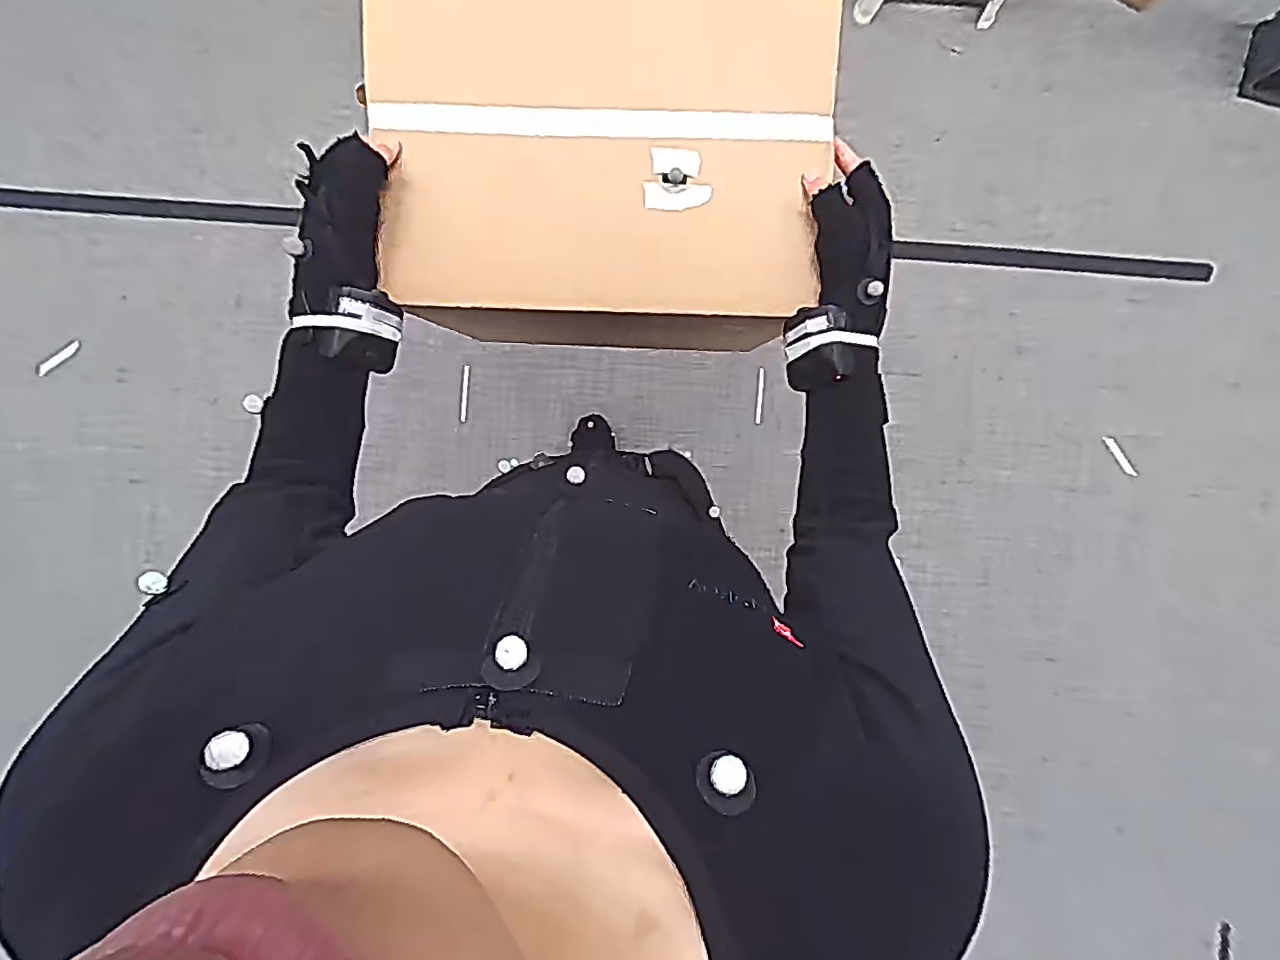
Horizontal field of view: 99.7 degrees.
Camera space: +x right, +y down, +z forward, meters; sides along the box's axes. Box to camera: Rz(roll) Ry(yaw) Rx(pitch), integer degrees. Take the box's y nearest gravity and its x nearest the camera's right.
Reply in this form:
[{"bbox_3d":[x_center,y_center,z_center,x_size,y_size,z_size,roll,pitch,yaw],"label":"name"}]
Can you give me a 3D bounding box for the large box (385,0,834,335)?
[{"bbox_3d":[-0.032,-0.348,0.636,0.408,0.320,0.320,2,99,-1],"label":"large box"}]
